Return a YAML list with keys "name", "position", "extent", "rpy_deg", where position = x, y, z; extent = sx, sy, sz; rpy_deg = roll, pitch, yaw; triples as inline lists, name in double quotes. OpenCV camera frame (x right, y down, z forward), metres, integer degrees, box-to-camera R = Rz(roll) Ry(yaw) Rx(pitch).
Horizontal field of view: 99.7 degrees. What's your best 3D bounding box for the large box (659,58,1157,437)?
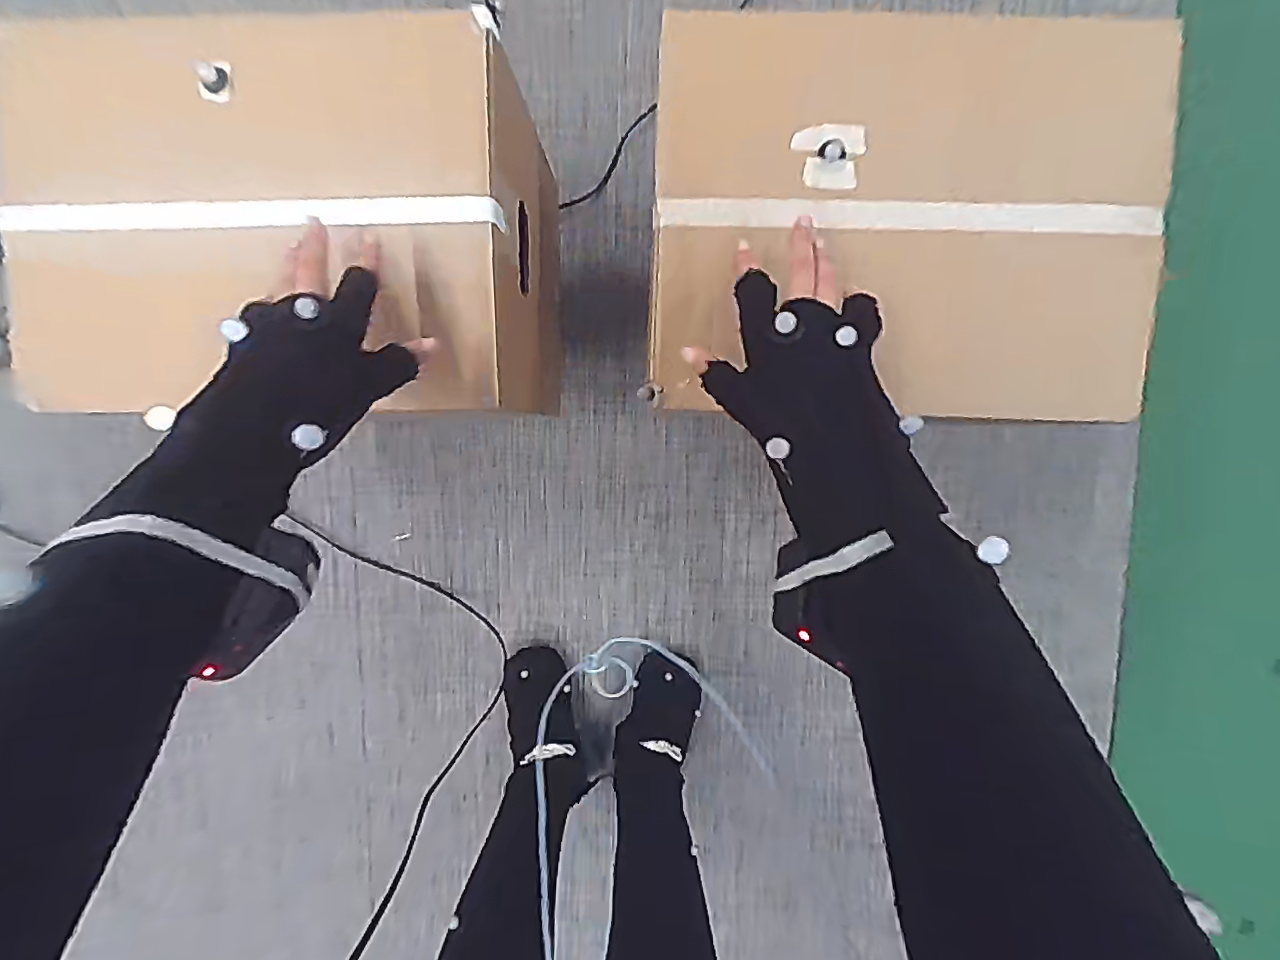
- name: "large box"
  position: [0.230, -0.214, 0.613]
  extent: [0.408, 0.320, 0.320]
  rpy_deg: [3, 95, 1]
